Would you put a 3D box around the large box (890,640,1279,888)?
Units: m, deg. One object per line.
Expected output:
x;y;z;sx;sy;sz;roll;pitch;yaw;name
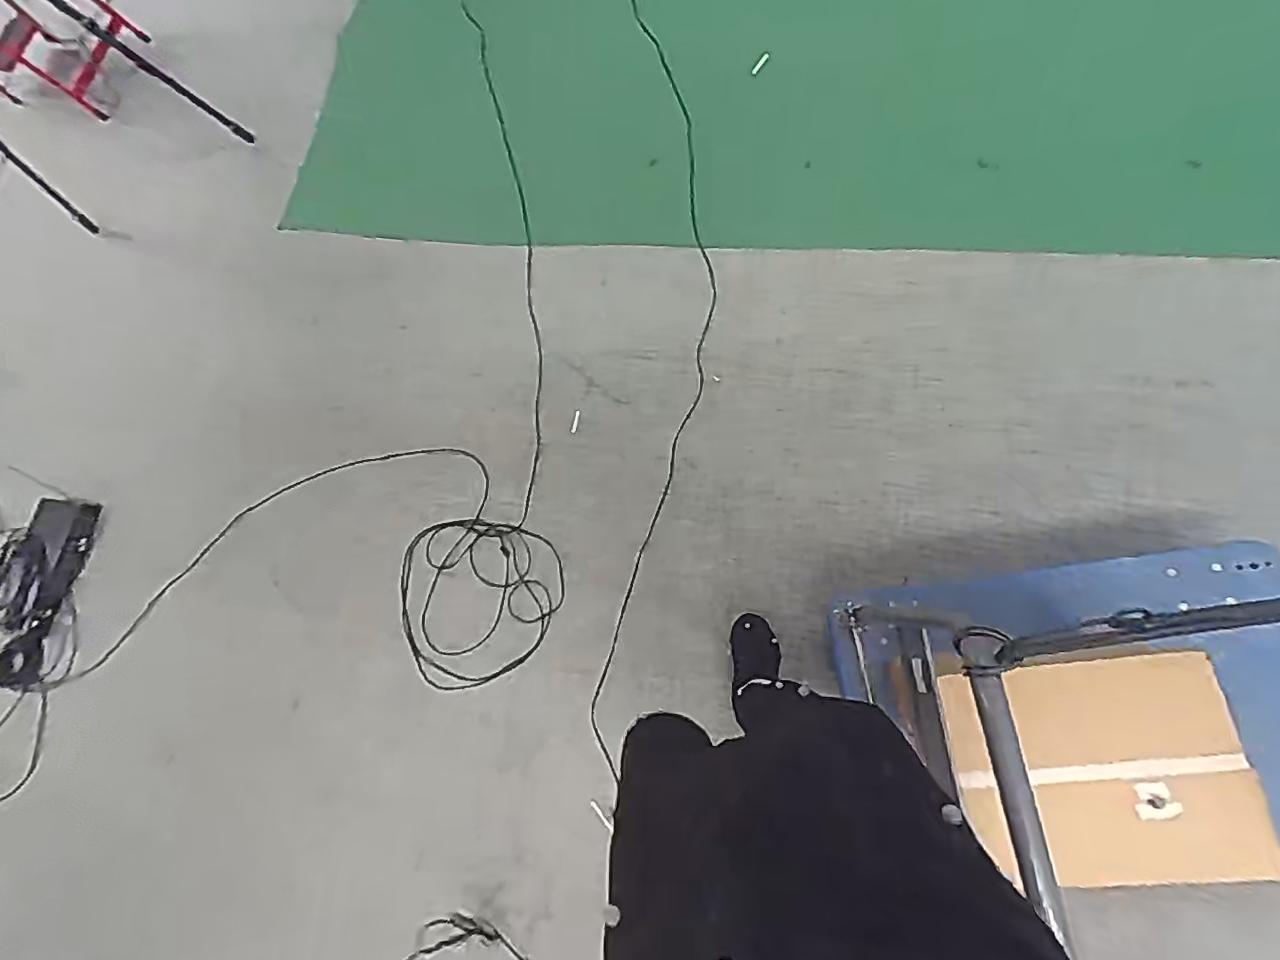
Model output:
0.721;0.470;0.962;0.408;0.320;0.320;-9;76;9;large box
